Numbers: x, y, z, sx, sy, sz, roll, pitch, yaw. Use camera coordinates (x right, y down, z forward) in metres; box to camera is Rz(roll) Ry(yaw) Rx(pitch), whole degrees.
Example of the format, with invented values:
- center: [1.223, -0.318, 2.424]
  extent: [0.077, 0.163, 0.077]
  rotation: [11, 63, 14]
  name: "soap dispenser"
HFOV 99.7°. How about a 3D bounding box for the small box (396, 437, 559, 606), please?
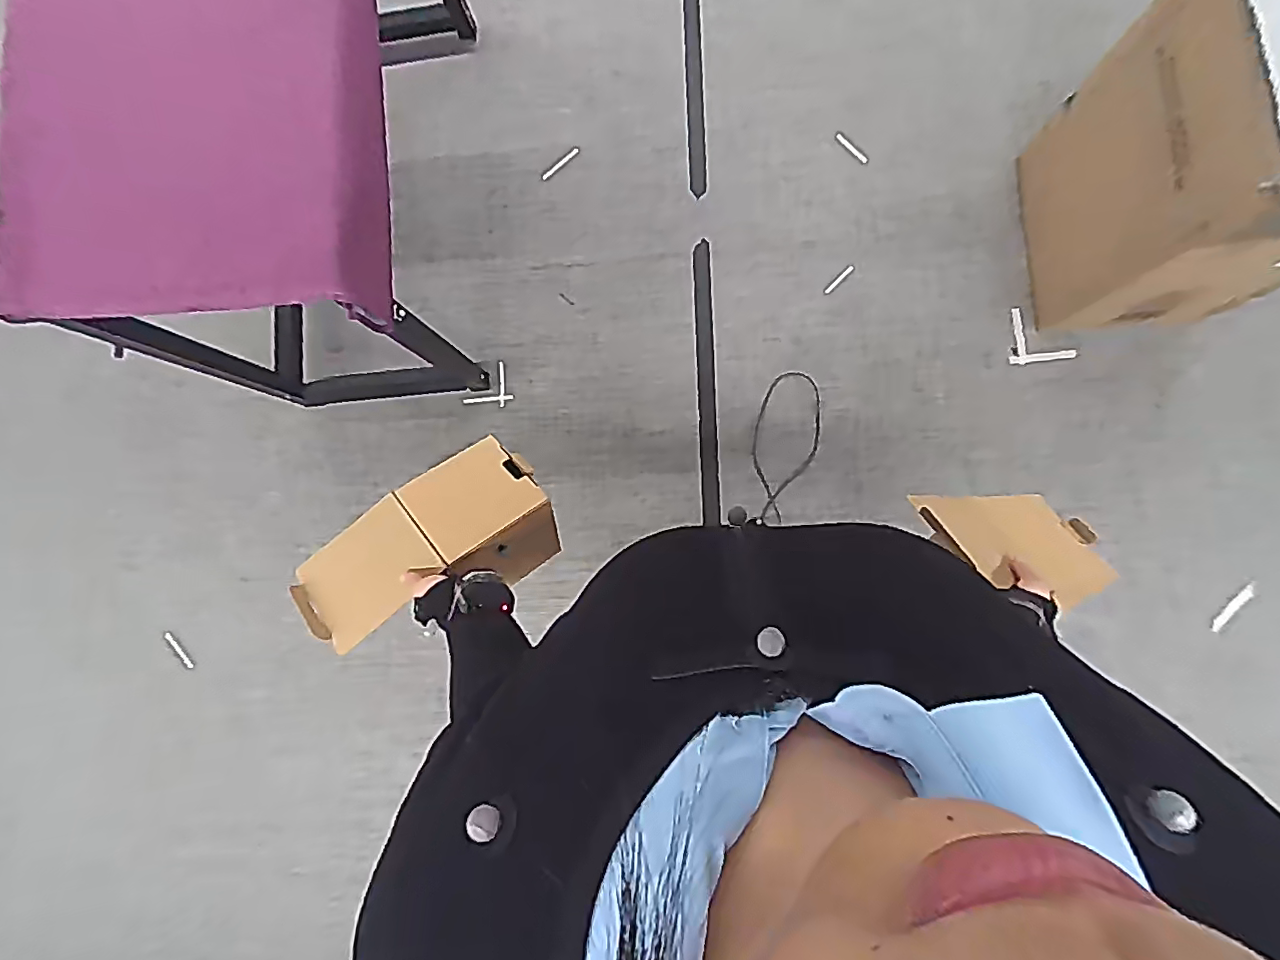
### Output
- center: [-0.250, 0.071, 0.870]
  extent: [0.179, 0.176, 0.168]
  rotation: [-35, 62, -23]
  name: "small box"
